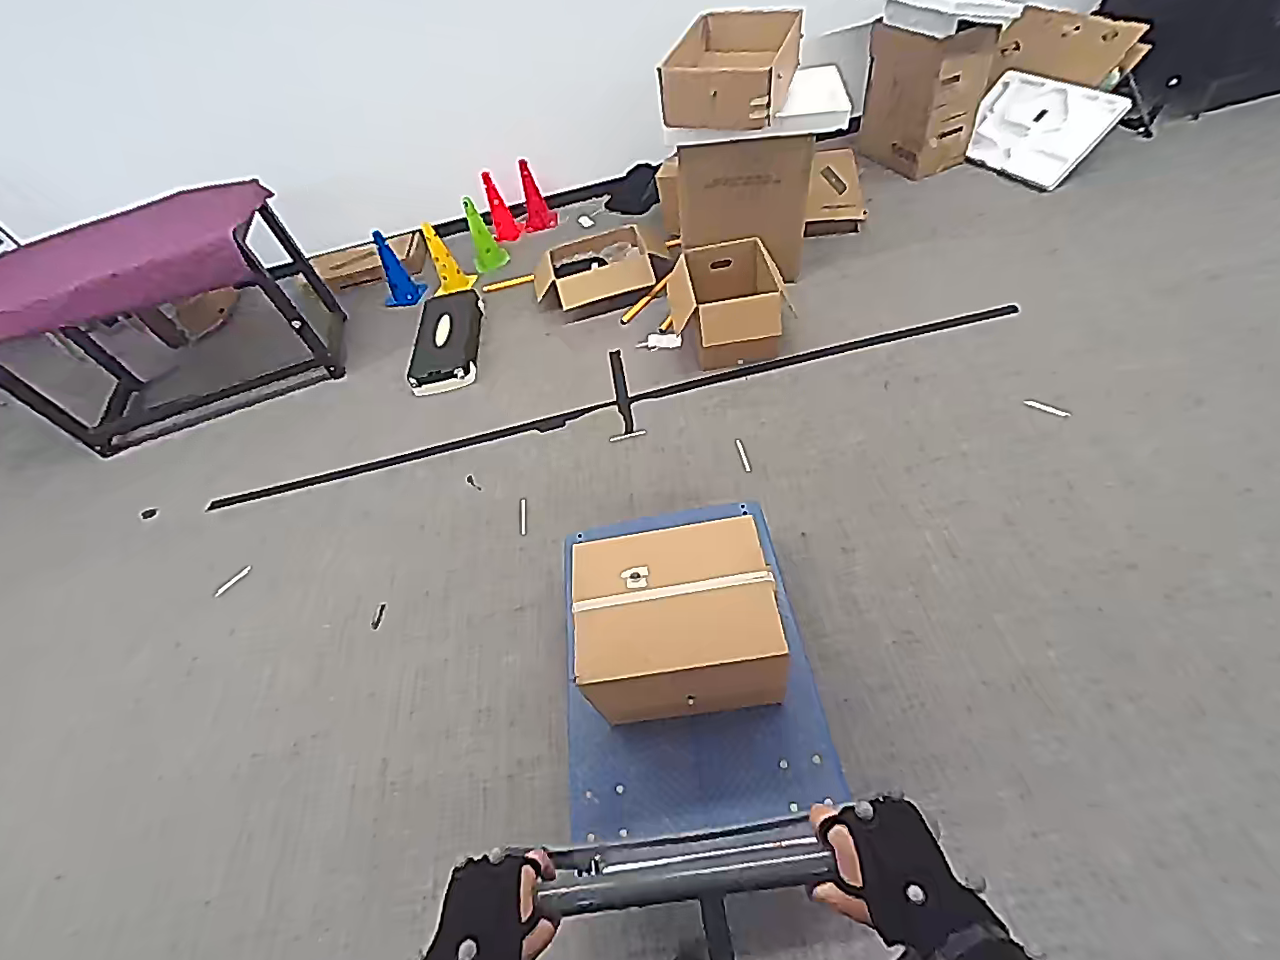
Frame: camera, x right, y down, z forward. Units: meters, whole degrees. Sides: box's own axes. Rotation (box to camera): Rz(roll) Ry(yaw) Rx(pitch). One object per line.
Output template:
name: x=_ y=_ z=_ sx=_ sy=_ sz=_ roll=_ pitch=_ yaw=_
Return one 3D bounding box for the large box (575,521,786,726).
large box: x=0.091 y=0.336 z=1.229 sx=0.408 sy=0.320 sz=0.320 roll=-11 pitch=50 yaw=5
